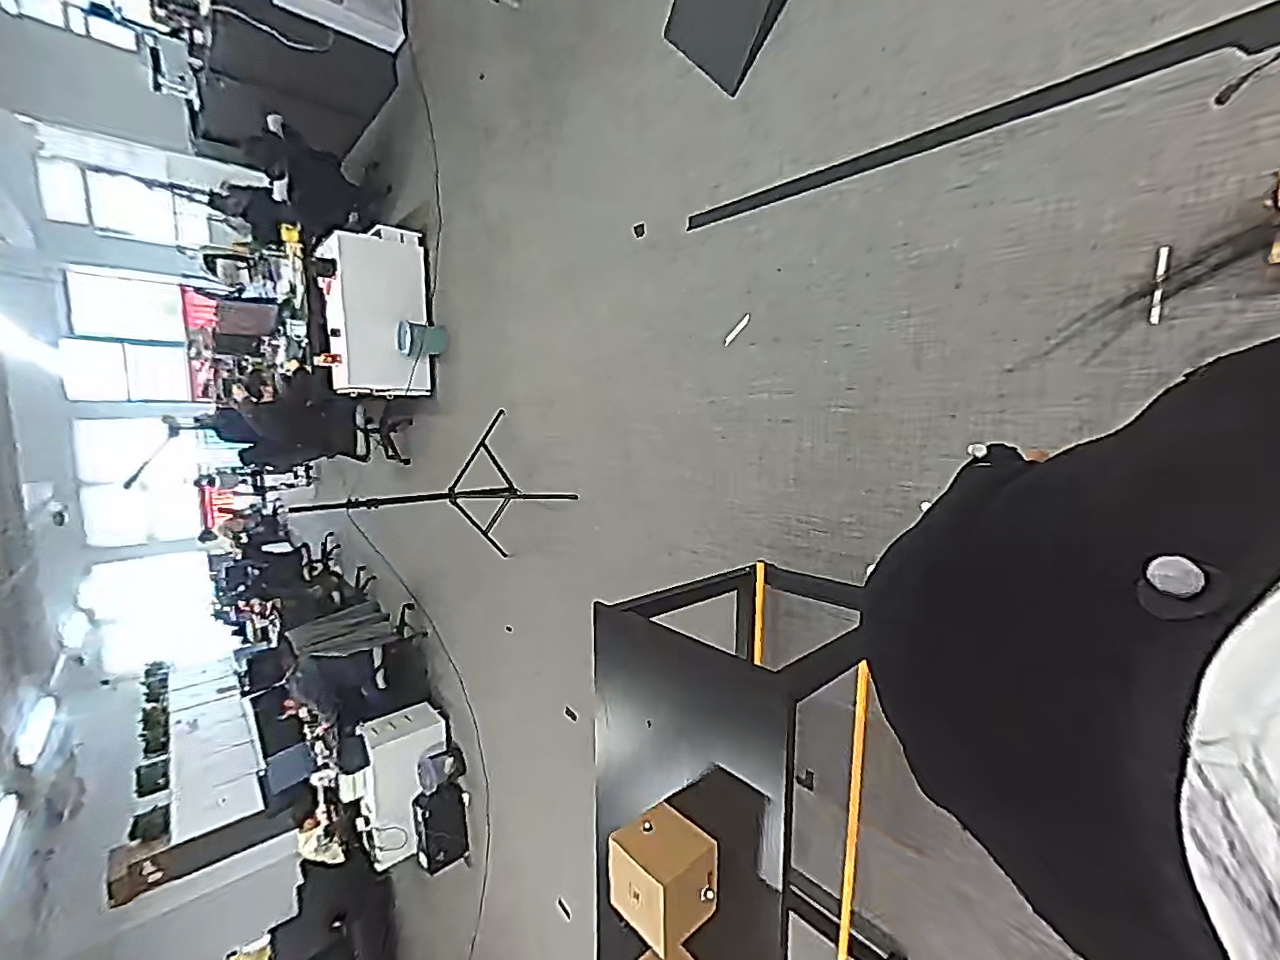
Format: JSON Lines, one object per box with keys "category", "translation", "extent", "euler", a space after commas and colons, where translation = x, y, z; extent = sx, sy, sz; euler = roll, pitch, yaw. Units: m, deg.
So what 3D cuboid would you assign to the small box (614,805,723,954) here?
{"category": "small box", "translation": [0.061, 0.853, 1.182], "extent": [0.179, 0.176, 0.168], "euler": [6, 101, 49]}
